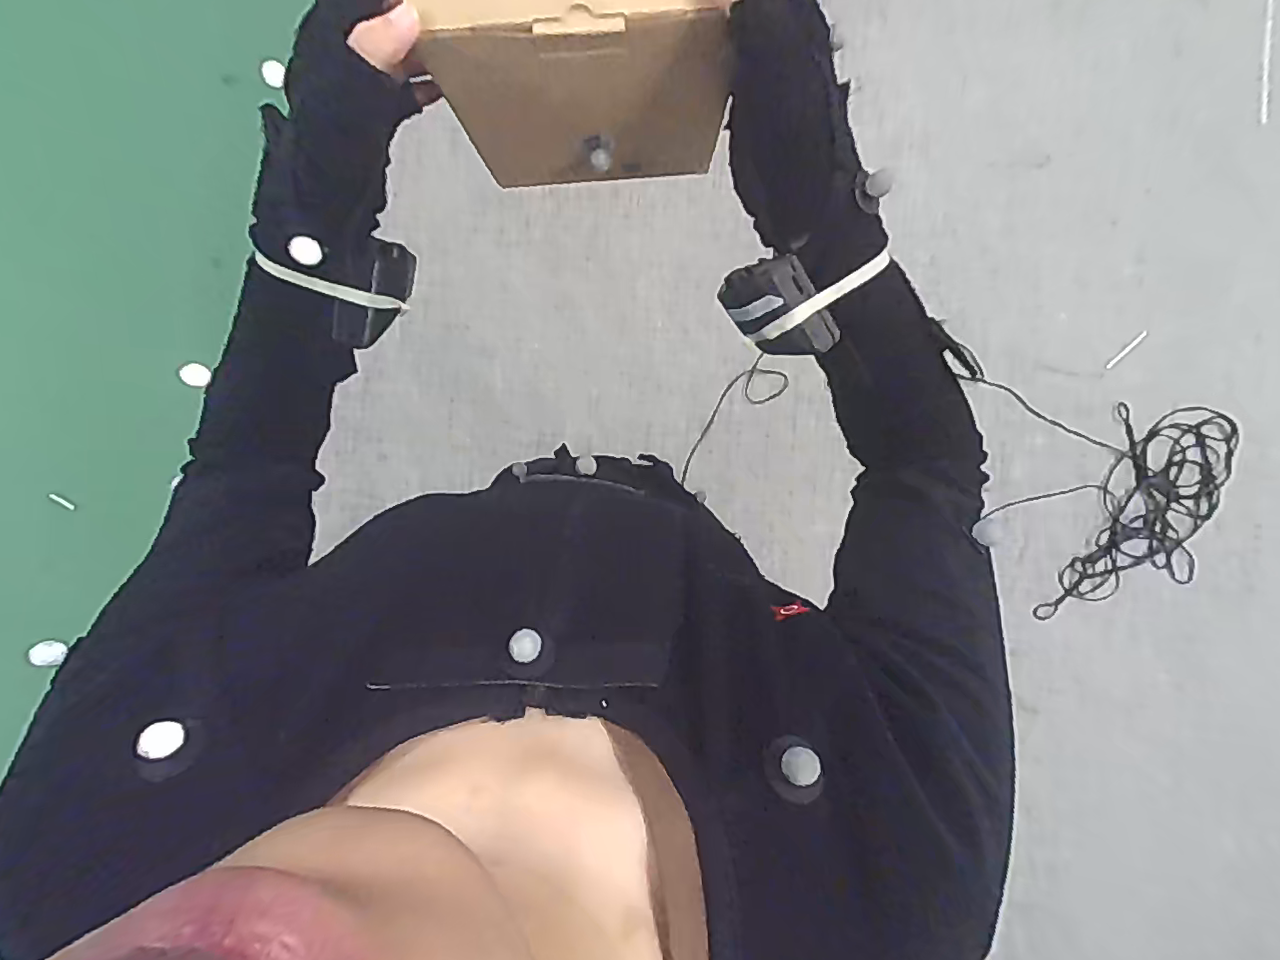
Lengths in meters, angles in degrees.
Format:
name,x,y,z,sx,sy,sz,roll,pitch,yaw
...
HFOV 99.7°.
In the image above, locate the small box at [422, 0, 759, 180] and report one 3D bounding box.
name,x,y,z,sx,sy,sz,roll,pitch,yaw
small box,-0.027,-0.316,0.332,0.168,0.176,0.179,-3,95,1
